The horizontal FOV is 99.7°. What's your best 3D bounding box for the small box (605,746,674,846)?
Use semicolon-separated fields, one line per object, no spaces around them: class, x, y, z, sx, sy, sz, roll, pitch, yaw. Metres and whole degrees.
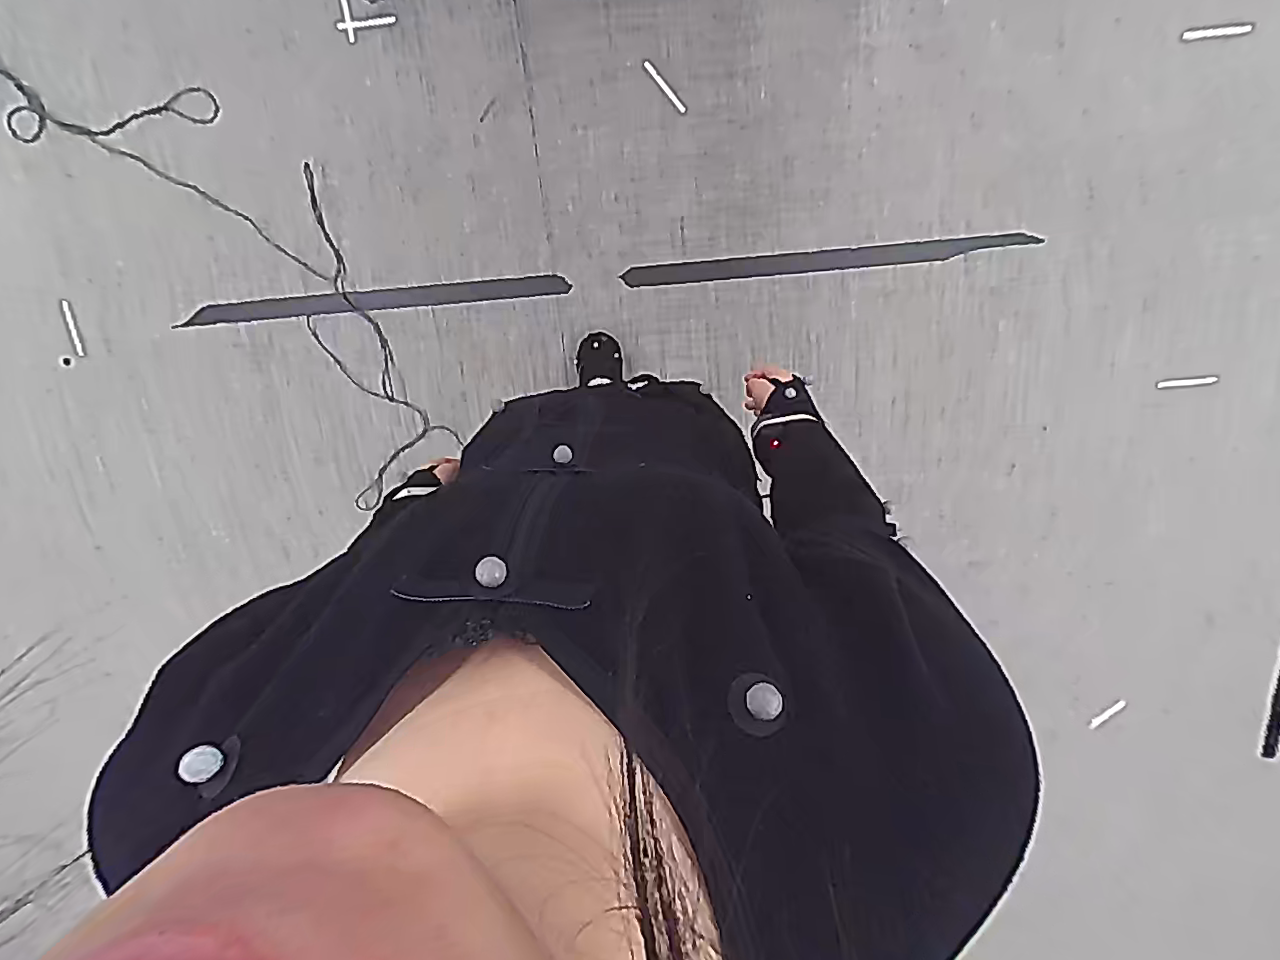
small box;0.000;0.934;1.607;0.168;0.176;0.179;-15;103;2
